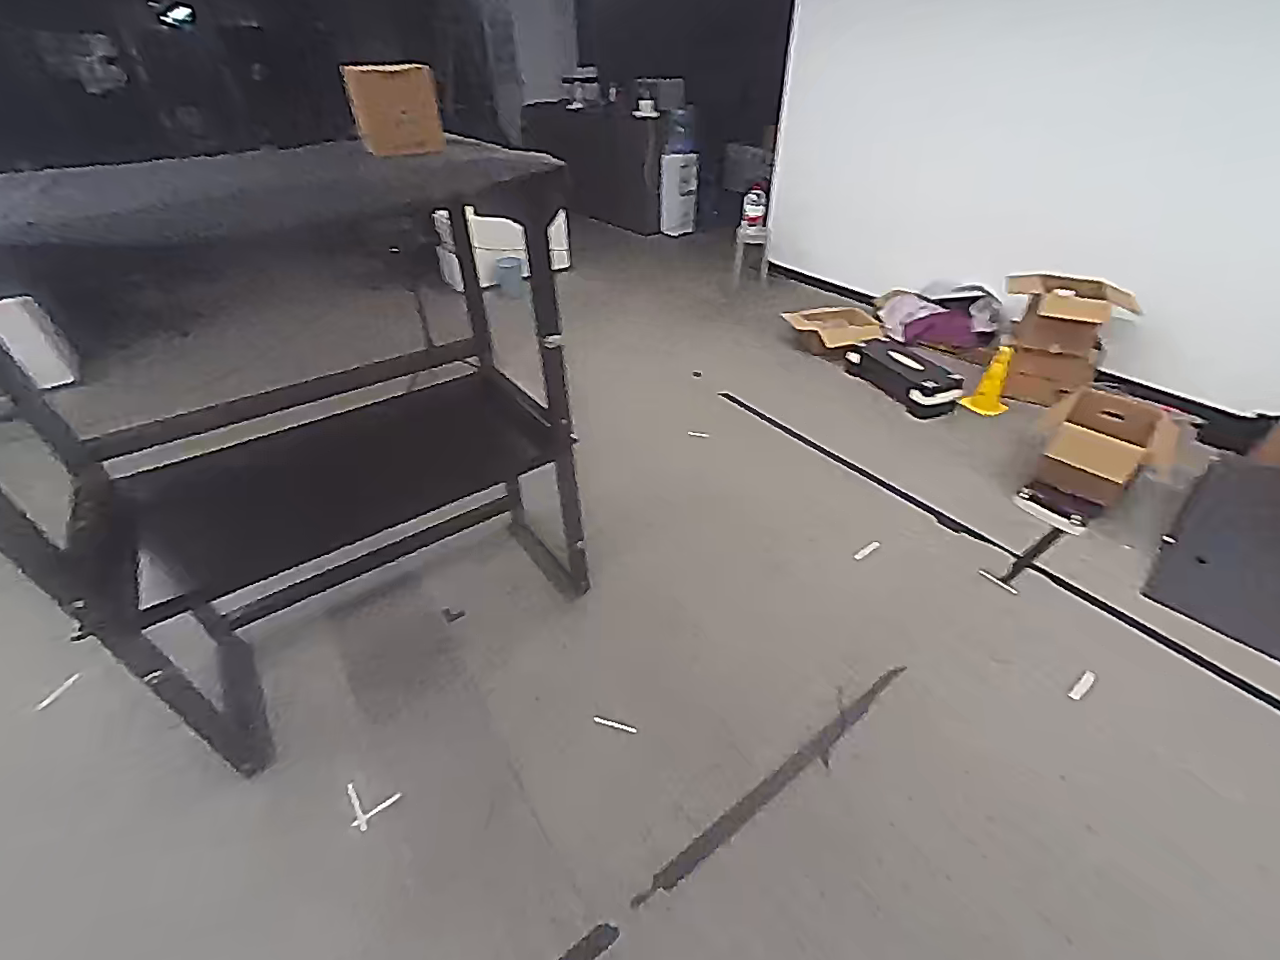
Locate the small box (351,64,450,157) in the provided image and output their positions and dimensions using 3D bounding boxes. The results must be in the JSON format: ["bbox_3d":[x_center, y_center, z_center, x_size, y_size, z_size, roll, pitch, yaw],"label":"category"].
[{"bbox_3d":[-0.576,-0.894,1.311,0.168,0.176,0.179,-20,44,-23],"label":"small box"}]
